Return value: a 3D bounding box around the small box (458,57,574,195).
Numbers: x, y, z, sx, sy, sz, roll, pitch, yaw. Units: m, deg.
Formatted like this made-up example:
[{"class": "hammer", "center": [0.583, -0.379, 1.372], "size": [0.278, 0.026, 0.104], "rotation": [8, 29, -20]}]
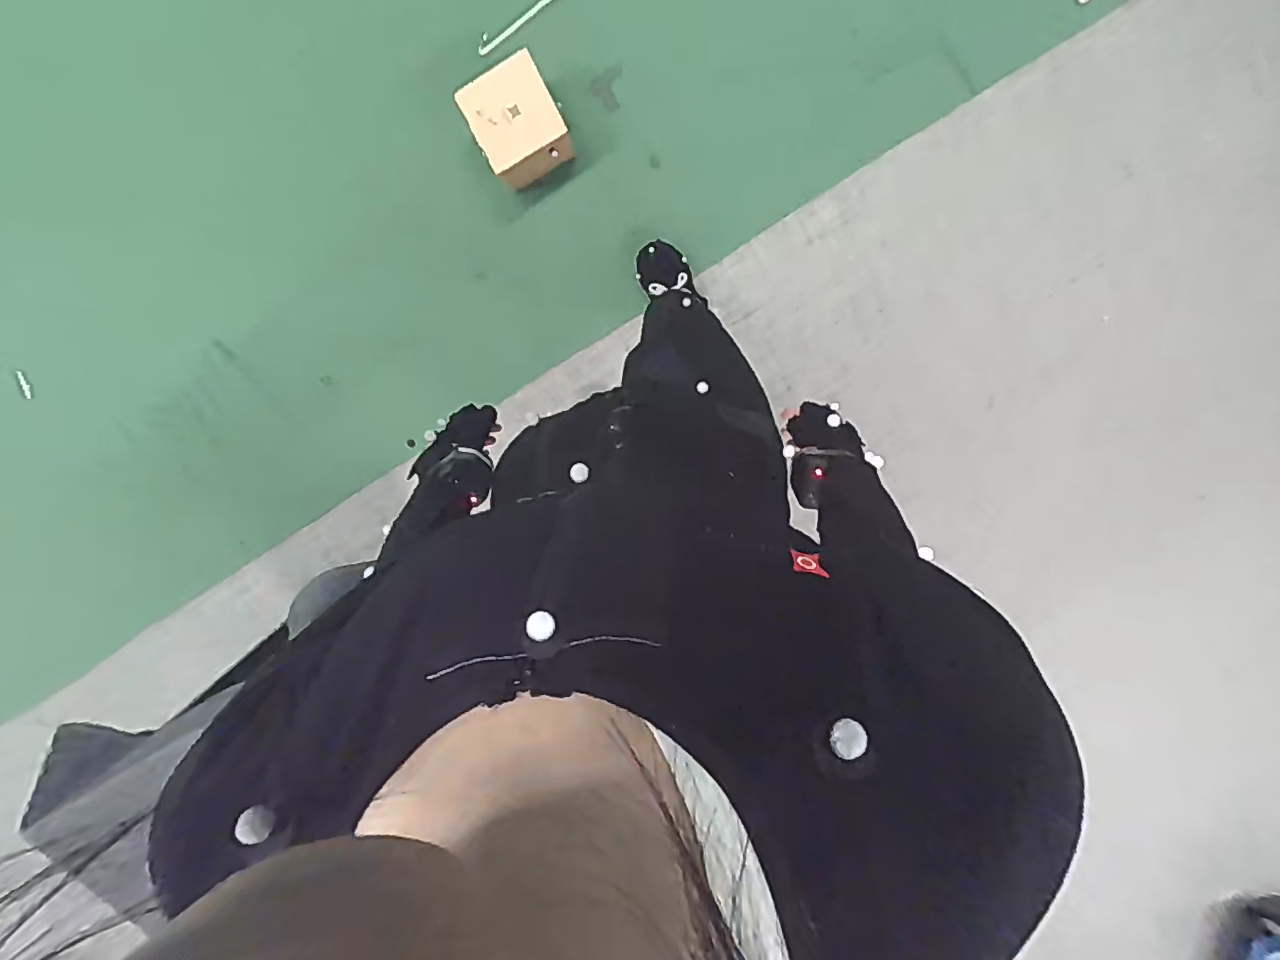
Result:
[{"class": "small box", "center": [-0.256, -0.755, 1.174], "size": [0.179, 0.176, 0.168], "rotation": [-26, 104, 8]}]
